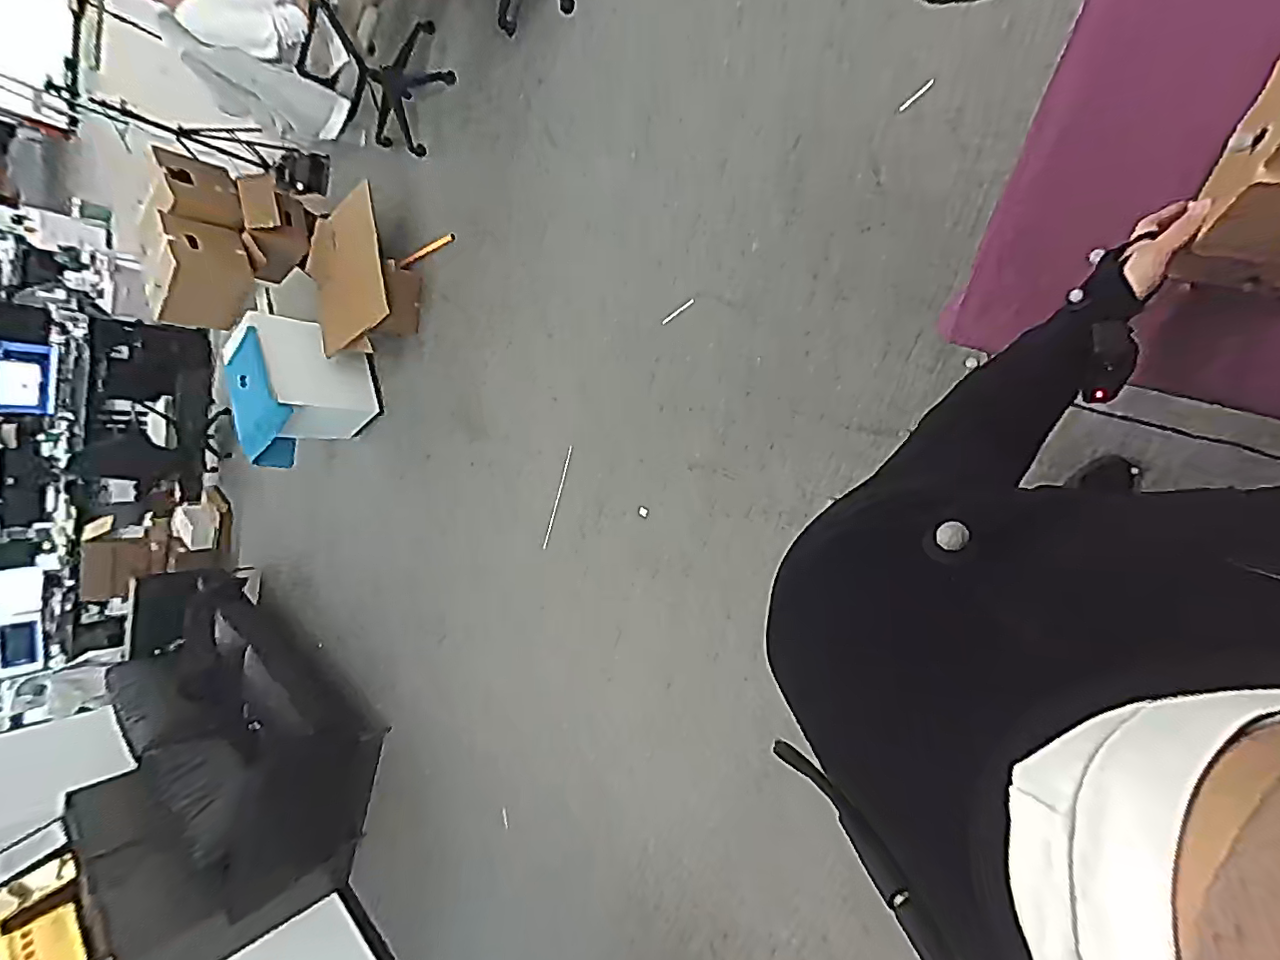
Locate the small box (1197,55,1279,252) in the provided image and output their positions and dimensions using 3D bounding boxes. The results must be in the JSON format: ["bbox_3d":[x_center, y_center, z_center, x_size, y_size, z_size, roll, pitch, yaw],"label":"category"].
[{"bbox_3d":[0.580,-0.277,0.410,0.168,0.176,0.179,24,104,31],"label":"small box"}]
